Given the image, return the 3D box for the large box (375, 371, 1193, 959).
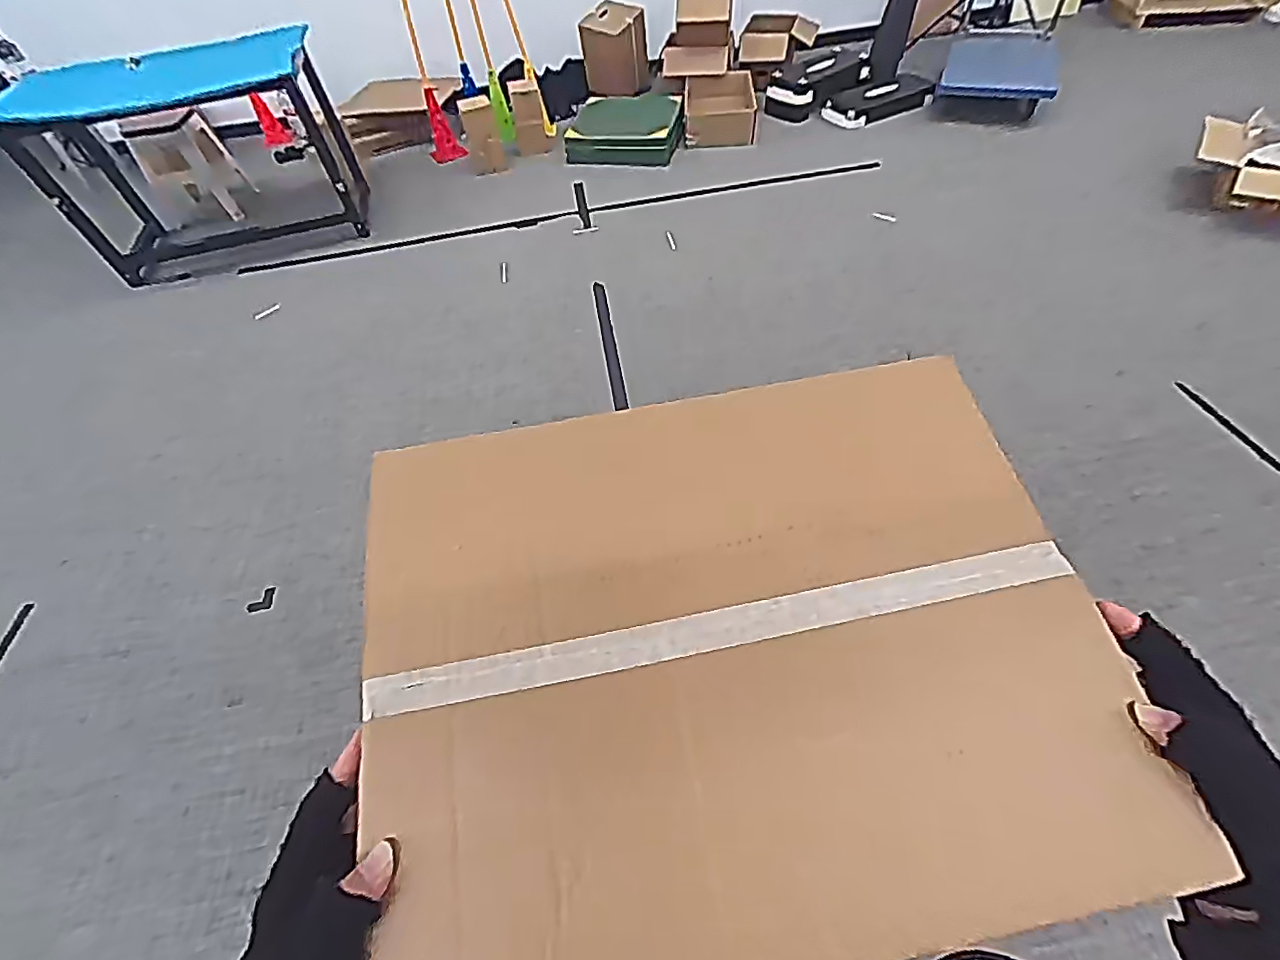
[{"bbox_3d":[0.055,0.157,0.447,0.408,0.320,0.320,-11,63,-3],"label":"large box"}]
